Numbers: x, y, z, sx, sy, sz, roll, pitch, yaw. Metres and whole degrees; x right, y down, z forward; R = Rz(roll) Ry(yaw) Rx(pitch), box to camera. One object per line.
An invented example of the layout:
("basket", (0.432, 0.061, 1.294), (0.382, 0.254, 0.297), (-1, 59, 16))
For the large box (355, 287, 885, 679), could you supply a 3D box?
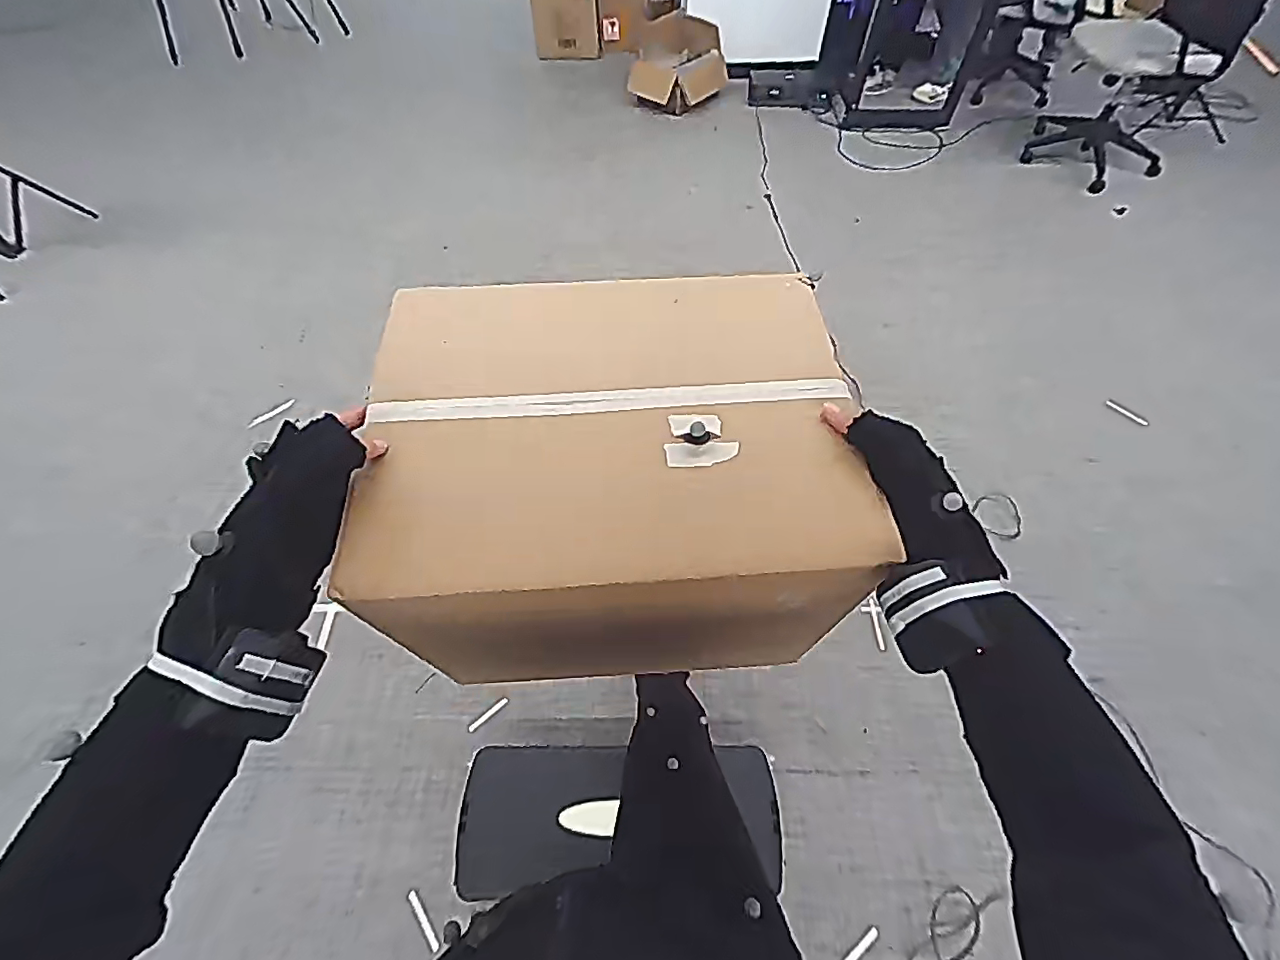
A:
("large box", (-0.024, 0.017, 0.601), (0.408, 0.320, 0.320), (-3, 59, -3))
